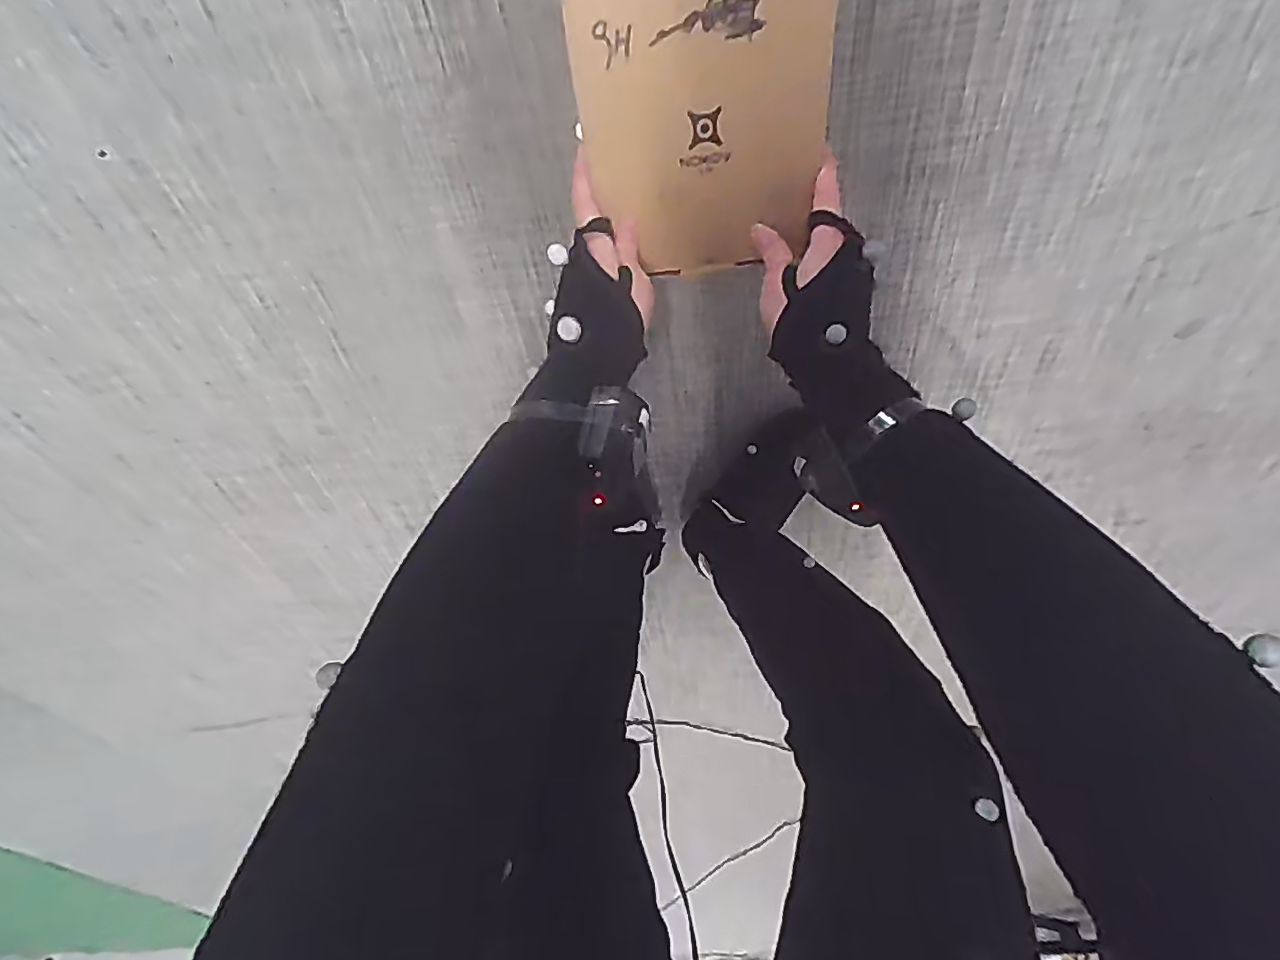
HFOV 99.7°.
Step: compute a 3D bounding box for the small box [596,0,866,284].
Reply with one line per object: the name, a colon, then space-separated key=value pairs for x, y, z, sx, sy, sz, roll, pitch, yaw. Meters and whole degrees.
small box: x=0.065 y=-0.284 z=0.436 sx=0.168 sy=0.176 sz=0.179 roll=-6 pitch=131 yaw=5
